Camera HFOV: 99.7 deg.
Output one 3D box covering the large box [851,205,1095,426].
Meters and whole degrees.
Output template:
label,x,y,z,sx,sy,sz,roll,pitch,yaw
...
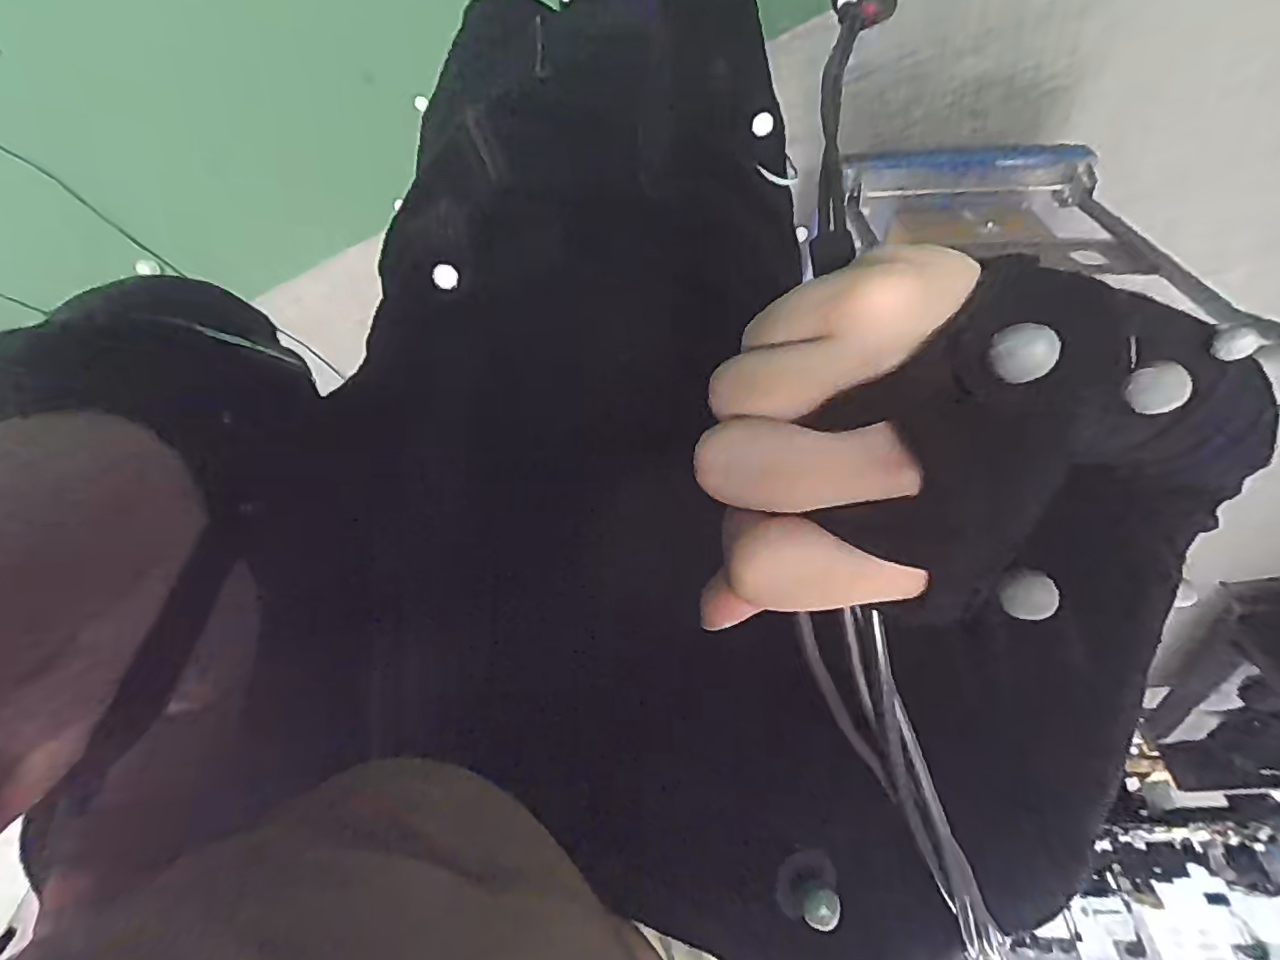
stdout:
label,x,y,z,sx,sy,sz,roll,pitch,yaw
large box,0.738,-0.380,1.288,0.320,0.320,0.408,0,142,2
